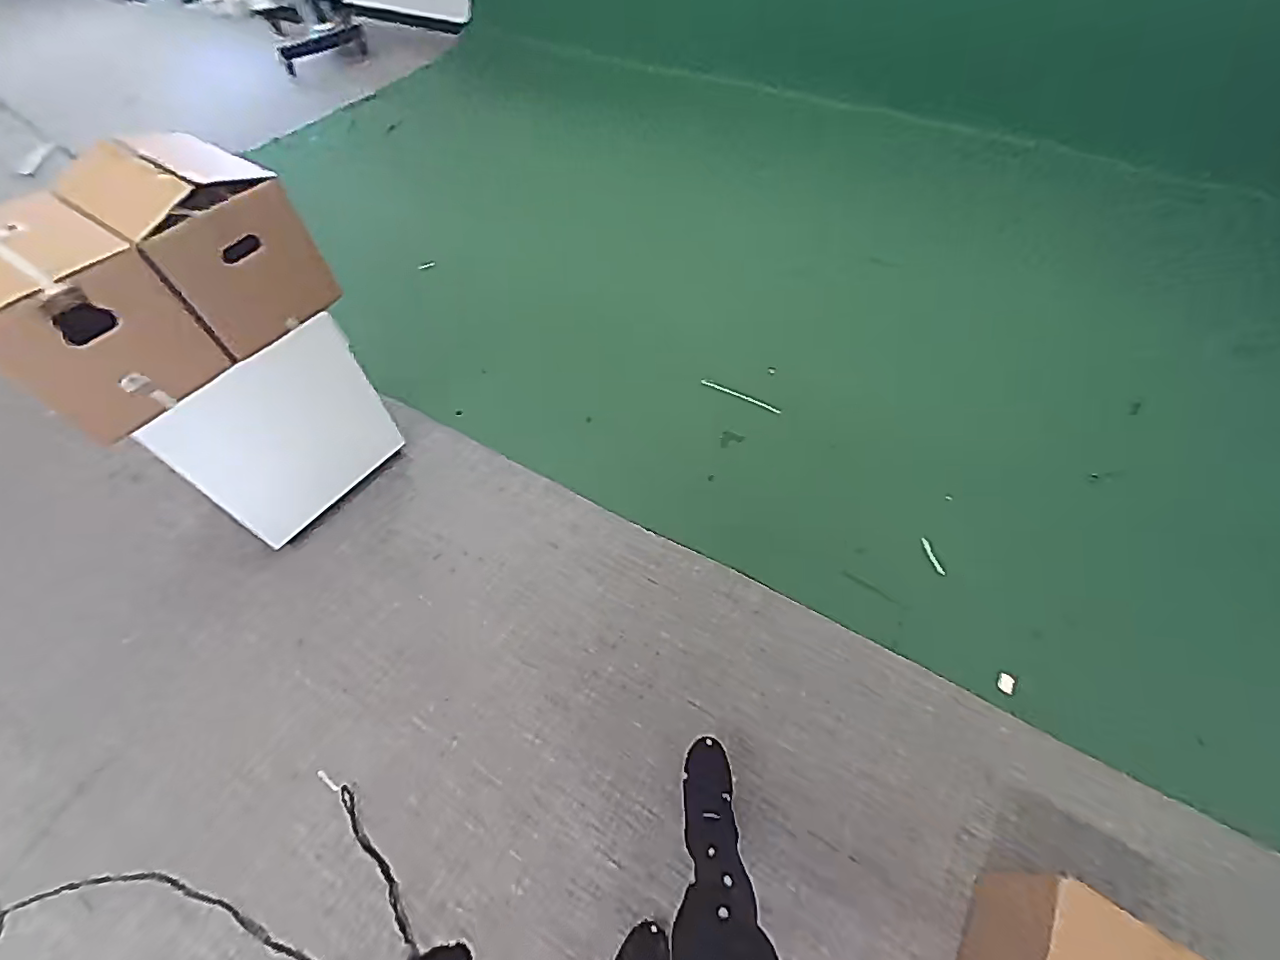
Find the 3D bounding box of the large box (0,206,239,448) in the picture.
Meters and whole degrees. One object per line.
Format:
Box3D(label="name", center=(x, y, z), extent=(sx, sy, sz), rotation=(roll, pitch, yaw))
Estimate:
Box3D(label="large box", center=(-1.212, -0.333, 1.181), extent=(0.408, 0.320, 0.320), rotation=(28, 60, 21))
